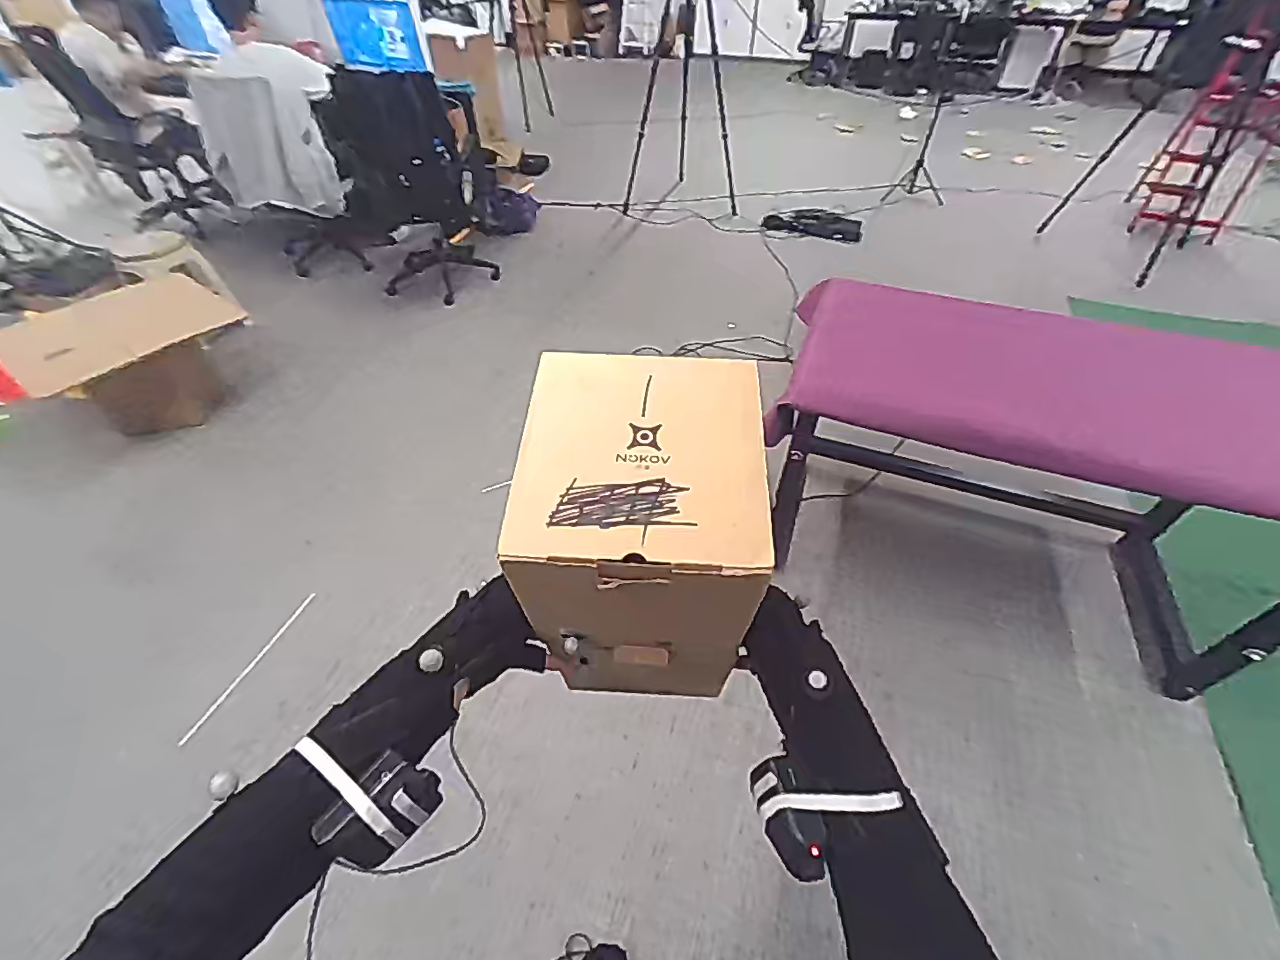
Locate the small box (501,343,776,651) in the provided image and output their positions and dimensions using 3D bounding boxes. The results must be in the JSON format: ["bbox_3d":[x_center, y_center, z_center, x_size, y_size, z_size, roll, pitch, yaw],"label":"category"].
[{"bbox_3d":[0.007,0.021,0.424,0.168,0.176,0.179,7,57,3],"label":"small box"}]
